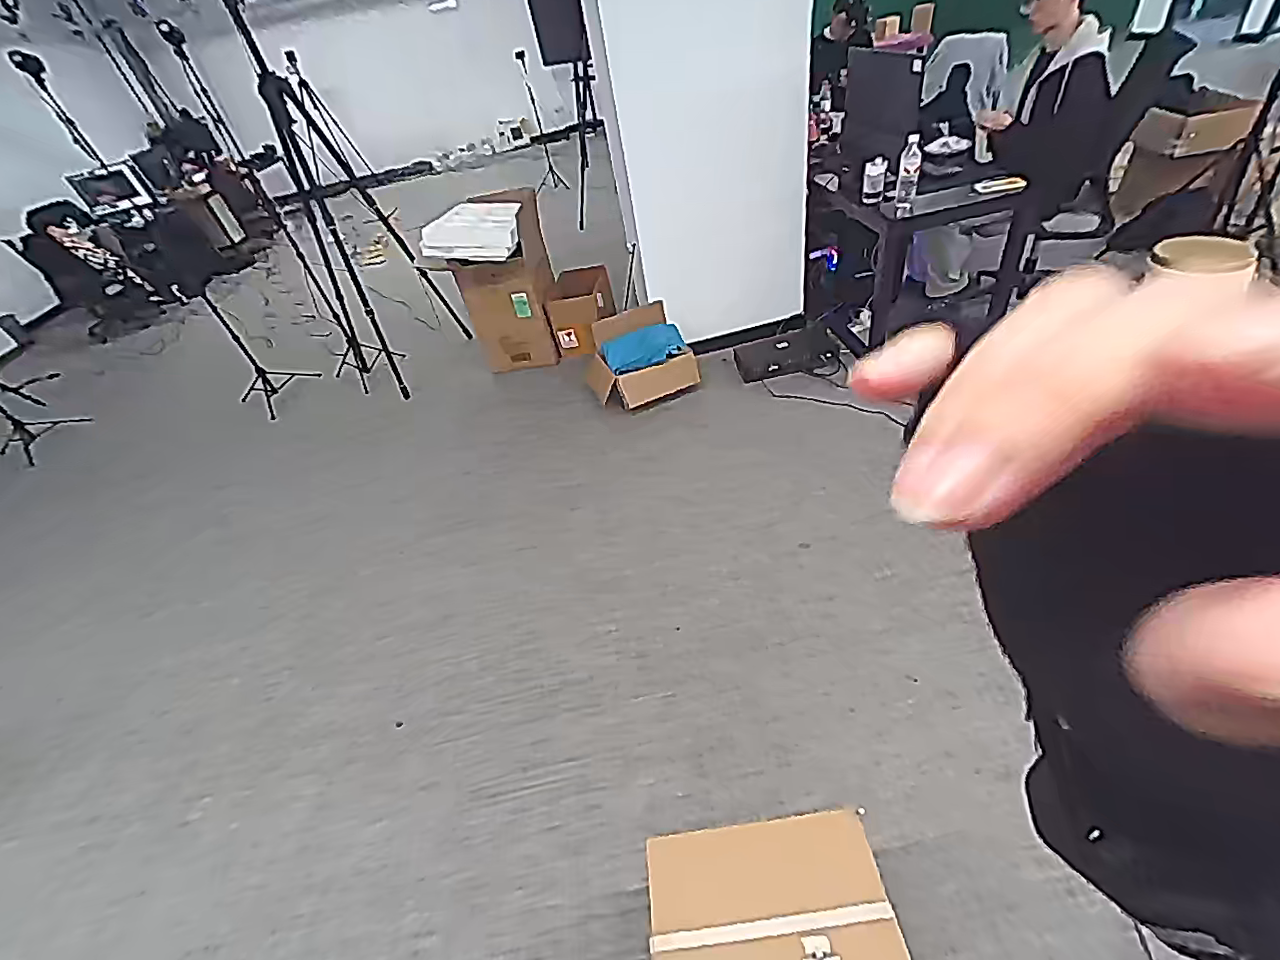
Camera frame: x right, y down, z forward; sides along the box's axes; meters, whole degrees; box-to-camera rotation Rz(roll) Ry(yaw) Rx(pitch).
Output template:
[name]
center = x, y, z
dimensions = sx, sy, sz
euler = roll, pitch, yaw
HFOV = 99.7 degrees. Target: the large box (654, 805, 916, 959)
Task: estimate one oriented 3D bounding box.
[large box]
center = 0.258, 0.859, 1.006
dimensions = 0.408, 0.320, 0.320
euler = -11, 41, 3
